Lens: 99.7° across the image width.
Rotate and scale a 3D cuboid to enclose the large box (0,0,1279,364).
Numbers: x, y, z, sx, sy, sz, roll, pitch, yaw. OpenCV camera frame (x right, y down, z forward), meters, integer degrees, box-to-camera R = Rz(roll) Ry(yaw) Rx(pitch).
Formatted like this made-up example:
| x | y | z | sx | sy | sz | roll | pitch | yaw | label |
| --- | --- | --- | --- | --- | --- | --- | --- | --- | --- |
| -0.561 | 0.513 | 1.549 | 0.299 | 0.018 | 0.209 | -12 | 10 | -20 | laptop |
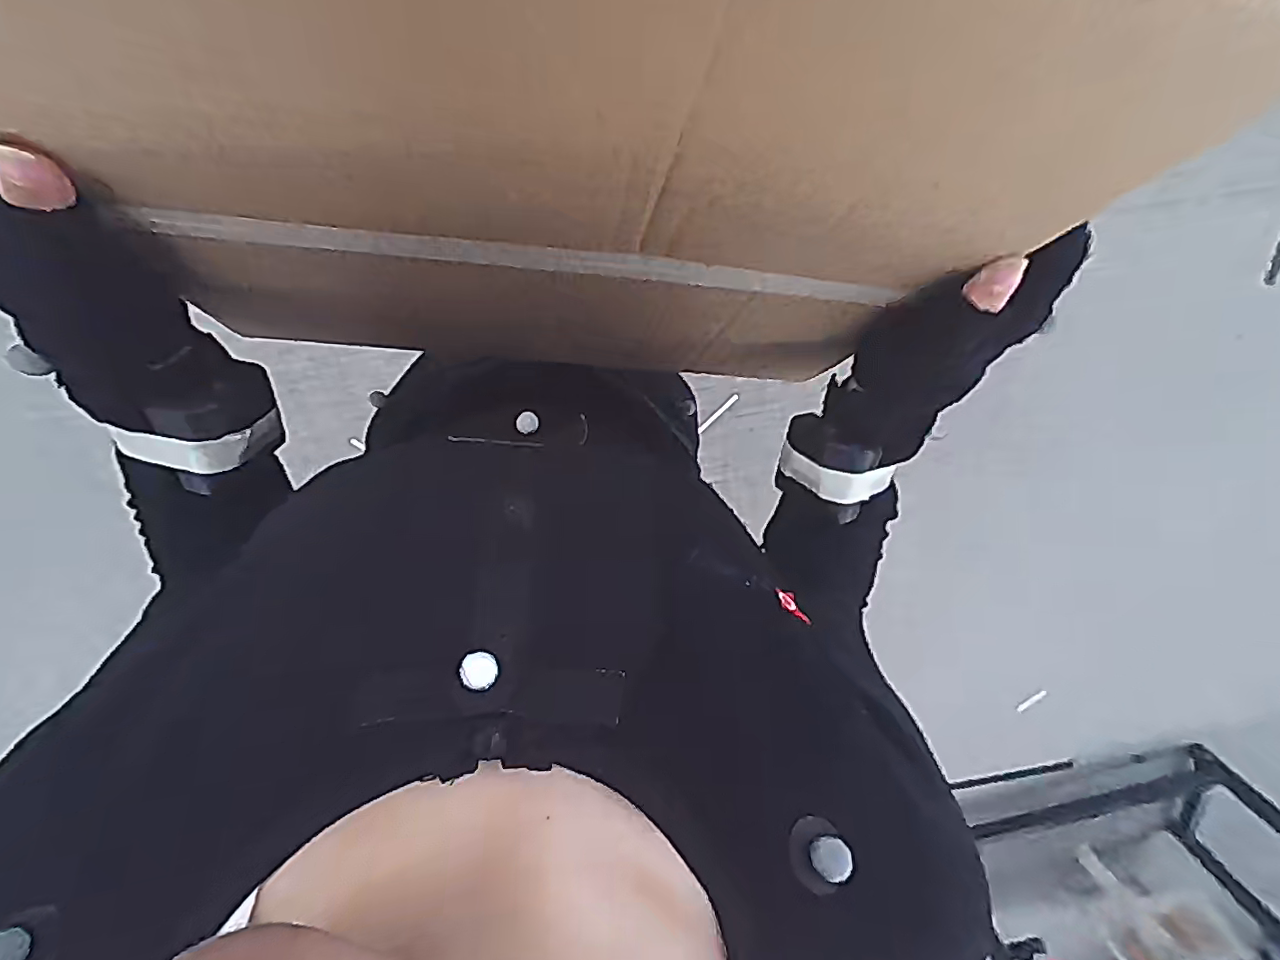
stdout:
| x | y | z | sx | sy | sz | roll | pitch | yaw | label |
| --- | --- | --- | --- | --- | --- | --- | --- | --- | --- |
| -0.039 | -0.264 | 0.268 | 0.408 | 0.320 | 0.320 | 1 | 85 | -10 | large box |
